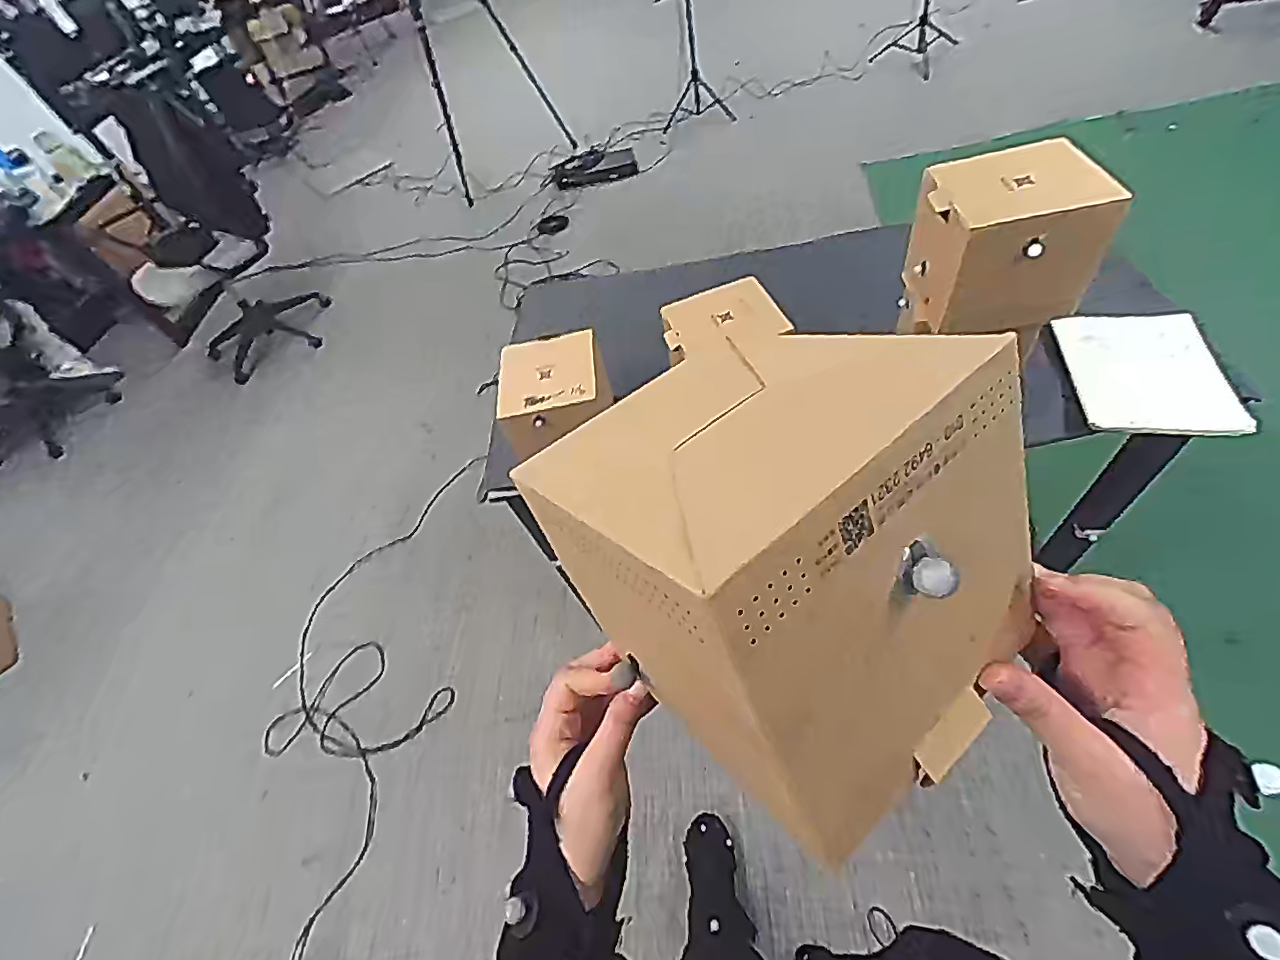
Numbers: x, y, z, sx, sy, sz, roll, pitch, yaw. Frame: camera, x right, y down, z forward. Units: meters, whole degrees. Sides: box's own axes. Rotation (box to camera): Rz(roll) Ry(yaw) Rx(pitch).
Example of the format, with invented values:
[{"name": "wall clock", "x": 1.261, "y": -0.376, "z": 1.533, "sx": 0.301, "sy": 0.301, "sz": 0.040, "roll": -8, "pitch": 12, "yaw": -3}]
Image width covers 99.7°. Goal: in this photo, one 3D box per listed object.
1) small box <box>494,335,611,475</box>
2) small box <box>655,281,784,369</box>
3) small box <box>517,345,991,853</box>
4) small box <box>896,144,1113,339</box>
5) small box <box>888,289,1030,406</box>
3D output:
[{"name": "small box", "x": -0.146, "y": -0.127, "z": 0.970, "sx": 0.168, "sy": 0.176, "sz": 0.179, "roll": -11, "pitch": 53, "yaw": 6}, {"name": "small box", "x": 0.144, "y": -0.215, "z": 0.962, "sx": 0.179, "sy": 0.176, "sz": 0.168, "roll": -20, "pitch": 53, "yaw": -1}, {"name": "small box", "x": 0.056, "y": 0.037, "z": 0.297, "sx": 0.168, "sy": 0.176, "sz": 0.179, "roll": -36, "pitch": 28, "yaw": -19}, {"name": "small box", "x": 0.477, "y": -0.320, "z": 0.743, "sx": 0.179, "sy": 0.176, "sz": 0.168, "roll": -9, "pitch": 52, "yaw": 9}, {"name": "small box", "x": 0.508, "y": -0.245, "z": 0.887, "sx": 0.168, "sy": 0.176, "sz": 0.179, "roll": 5, "pitch": 56, "yaw": 19}]
